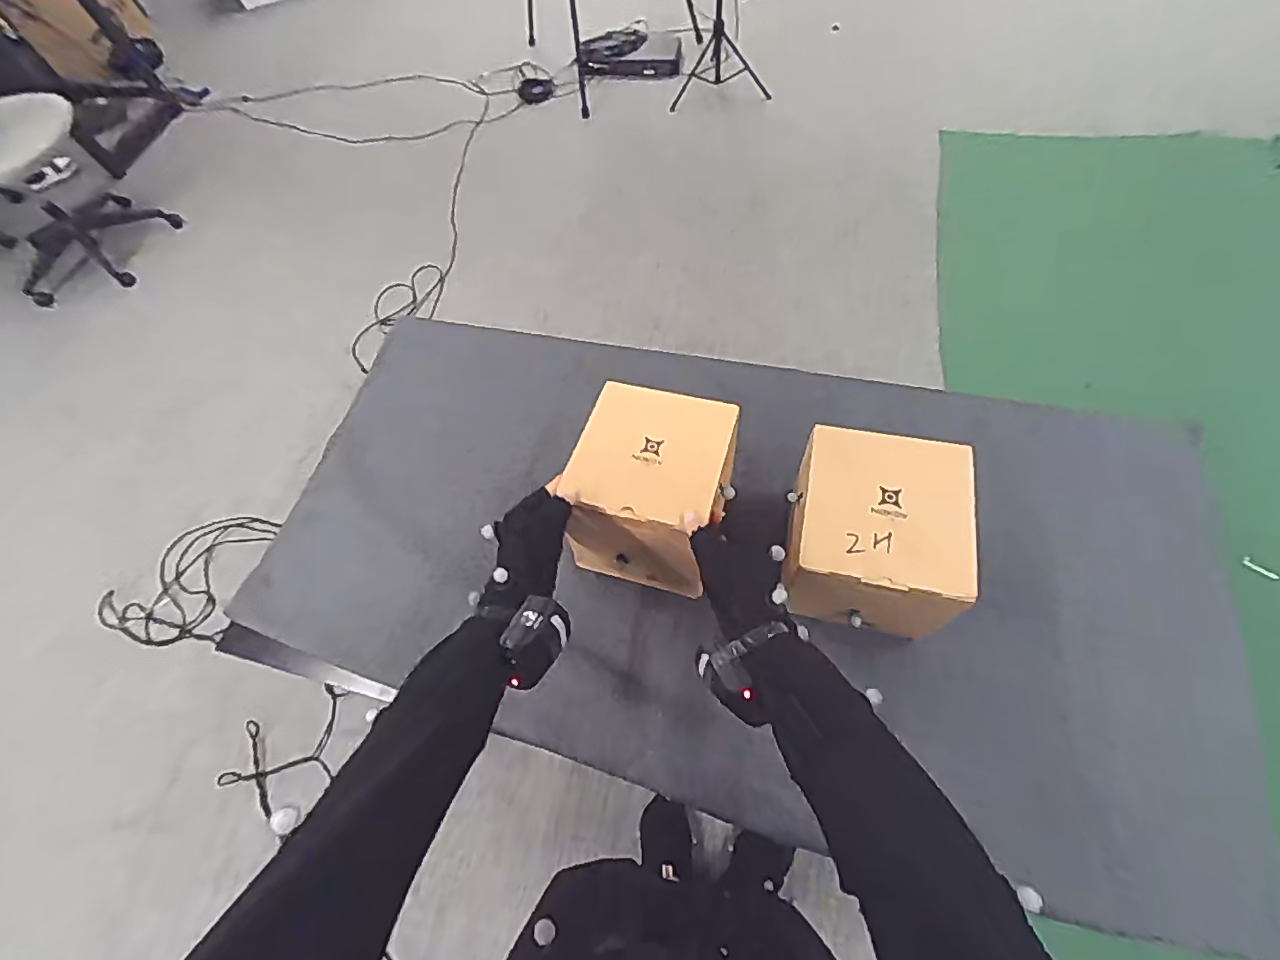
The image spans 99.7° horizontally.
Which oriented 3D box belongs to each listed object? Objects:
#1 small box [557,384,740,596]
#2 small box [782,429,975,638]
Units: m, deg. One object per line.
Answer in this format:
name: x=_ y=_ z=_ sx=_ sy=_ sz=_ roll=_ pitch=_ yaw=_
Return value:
small box: x=0.017 y=0.014 z=0.661 sx=0.168 sy=0.176 sz=0.179 roll=13 pitch=57 yaw=12
small box: x=0.265 y=0.066 z=0.629 sx=0.168 sy=0.176 sz=0.179 roll=9 pitch=64 yaw=13
